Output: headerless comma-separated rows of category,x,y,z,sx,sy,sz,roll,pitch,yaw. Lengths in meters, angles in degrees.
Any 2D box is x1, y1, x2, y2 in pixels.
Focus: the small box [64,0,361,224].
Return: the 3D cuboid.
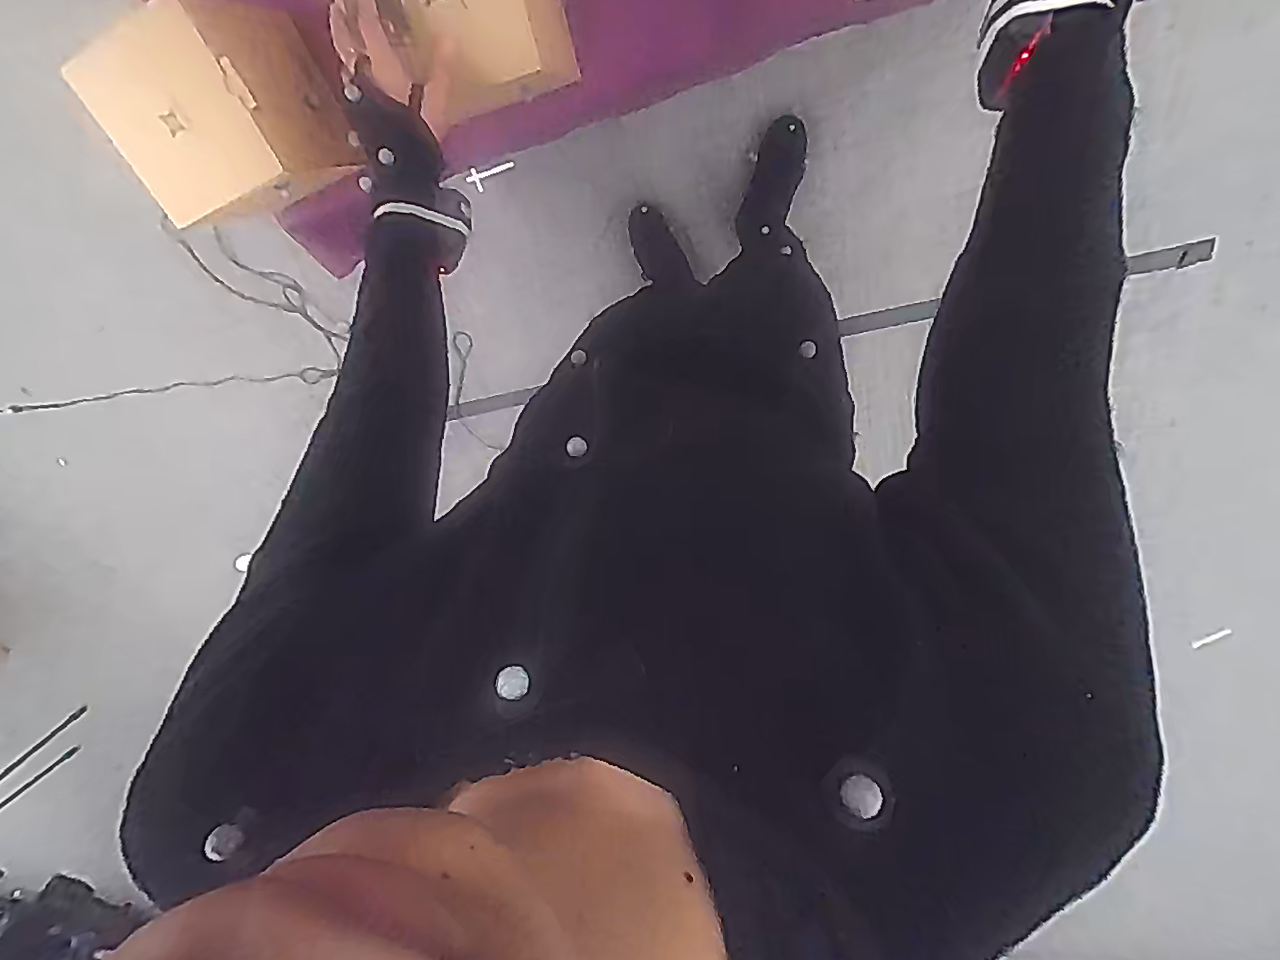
small box,-0.478,-0.425,0.636,0.179,0.176,0.168,-15,120,17
